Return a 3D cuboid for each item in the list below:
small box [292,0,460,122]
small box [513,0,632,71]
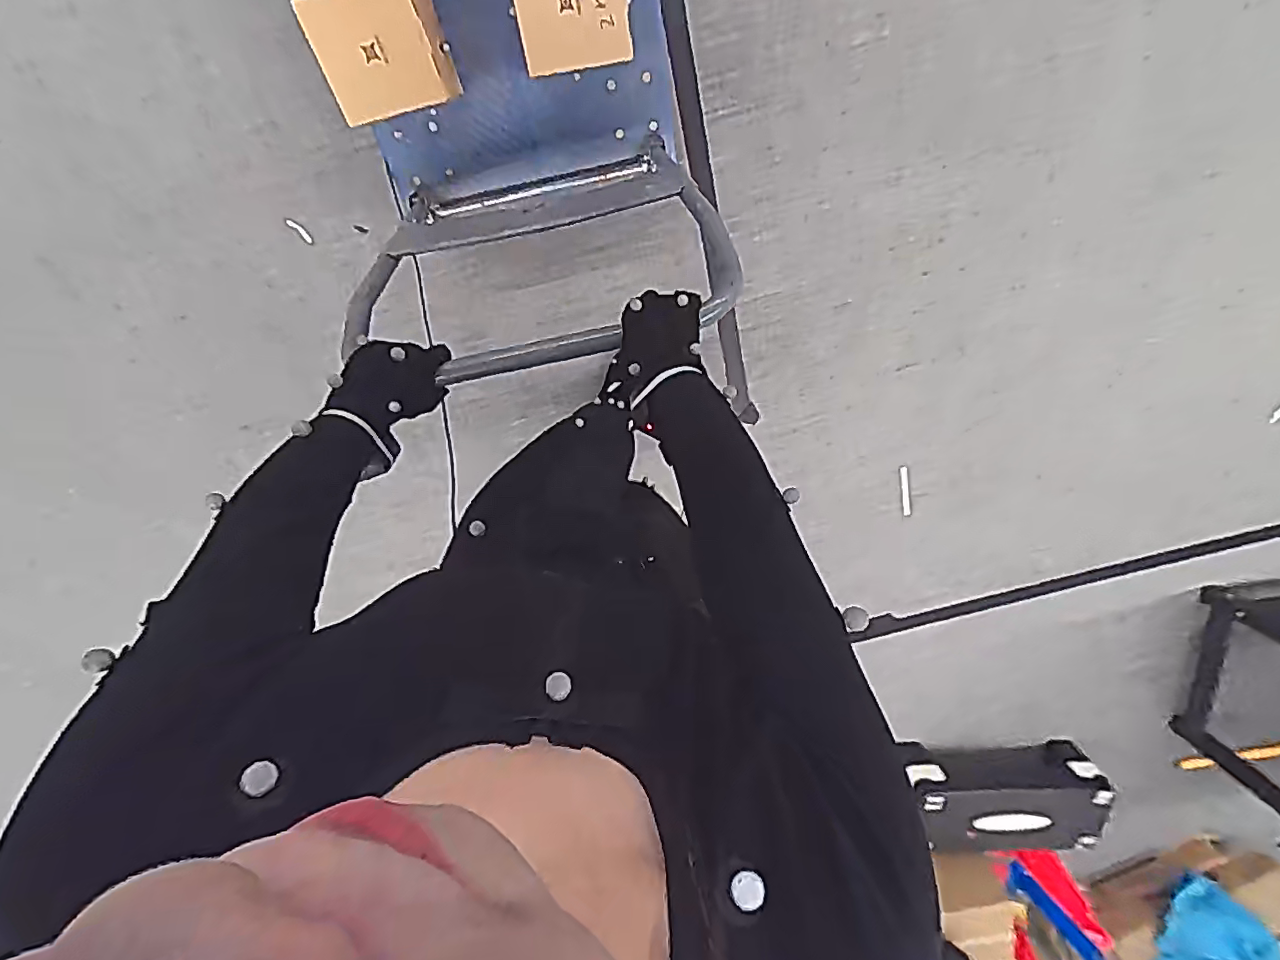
[{"bbox_3d":[-0.422,-0.718,0.902,0.179,0.176,0.168,-15,128,2],"label":"small box"},{"bbox_3d":[-0.113,-0.786,0.888,0.179,0.176,0.168,-9,129,1],"label":"small box"}]
